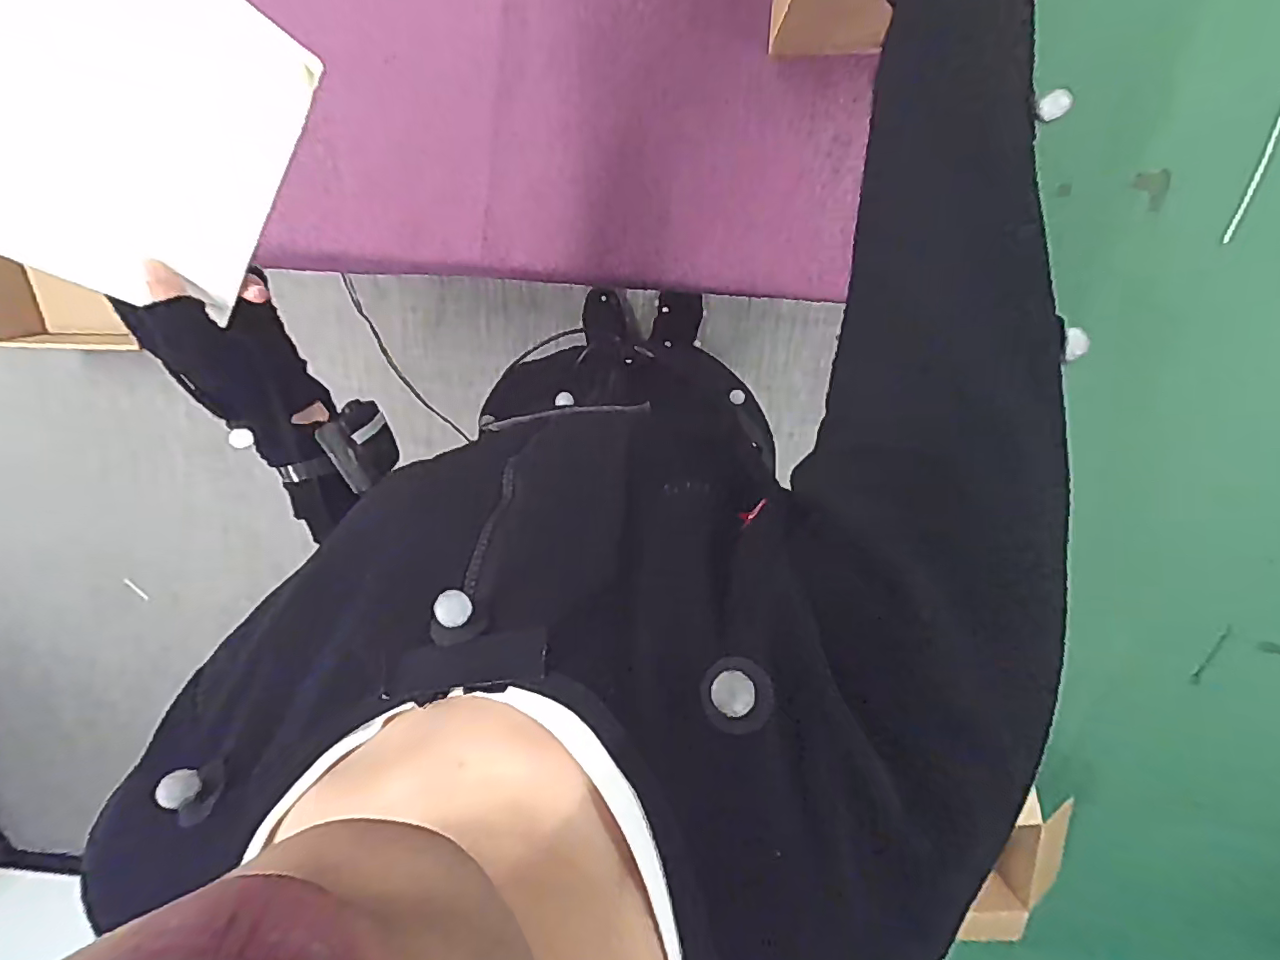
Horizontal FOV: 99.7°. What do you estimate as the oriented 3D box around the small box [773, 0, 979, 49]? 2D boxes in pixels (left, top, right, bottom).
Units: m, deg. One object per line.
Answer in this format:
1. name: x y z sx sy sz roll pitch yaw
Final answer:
1. small box: 0.209 -0.479 0.438 0.168 0.176 0.179 2 112 3
